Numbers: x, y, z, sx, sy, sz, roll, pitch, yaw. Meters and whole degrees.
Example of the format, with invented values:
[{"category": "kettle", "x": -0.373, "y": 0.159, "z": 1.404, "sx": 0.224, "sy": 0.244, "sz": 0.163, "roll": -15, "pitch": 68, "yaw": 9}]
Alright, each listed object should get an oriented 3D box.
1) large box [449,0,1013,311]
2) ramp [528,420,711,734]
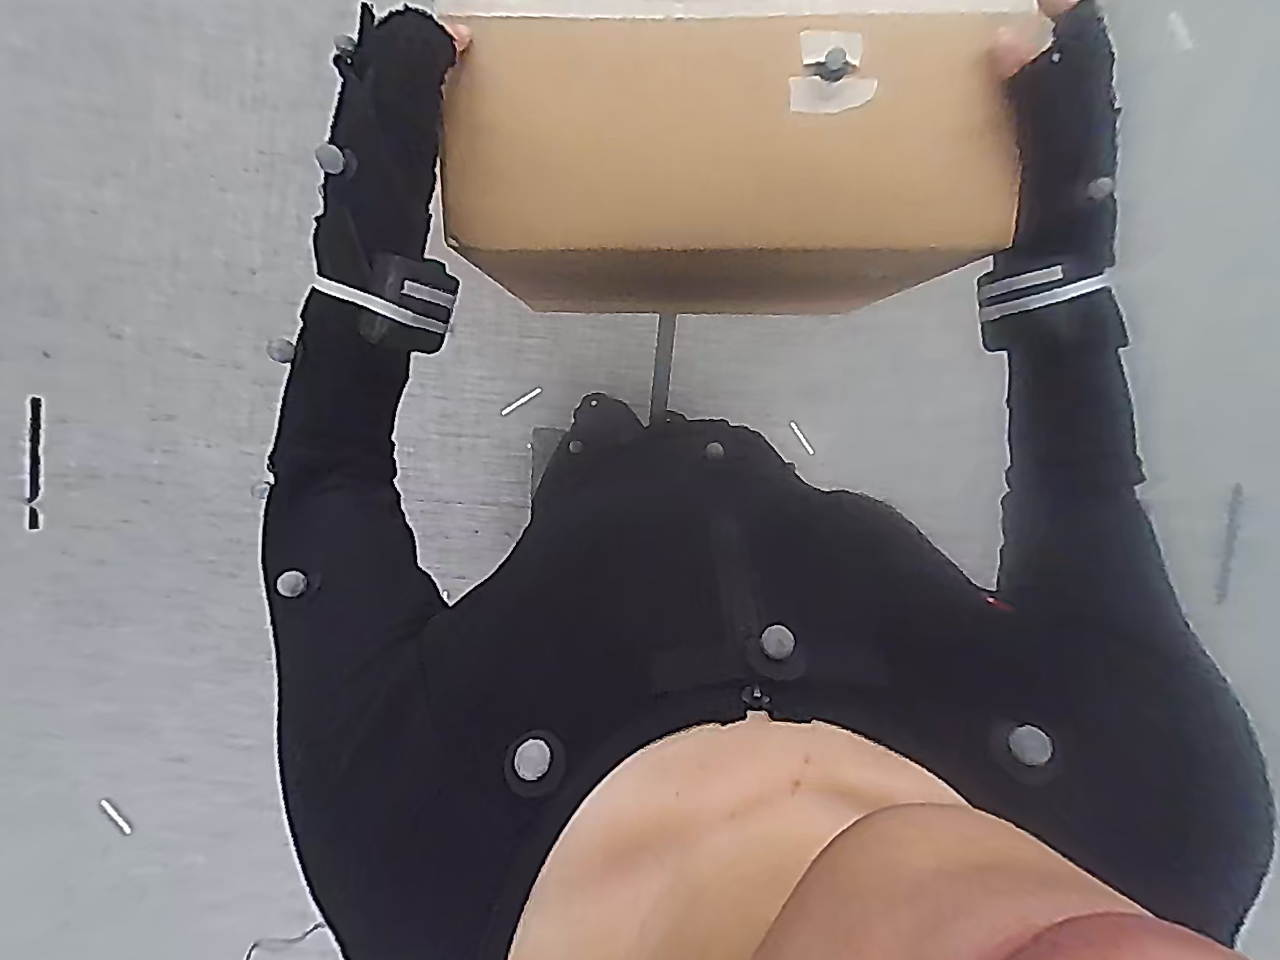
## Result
[{"category": "large box", "x": 0.061, "y": -0.351, "z": 0.525, "sx": 0.408, "sy": 0.320, "sz": 0.320, "roll": 0, "pitch": 99, "yaw": -1}, {"category": "ramp", "x": -0.079, "y": 0.329, "z": 1.605, "sx": 0.509, "sy": 0.206, "sz": 0.991, "roll": 2, "pitch": 96, "yaw": -2}]
